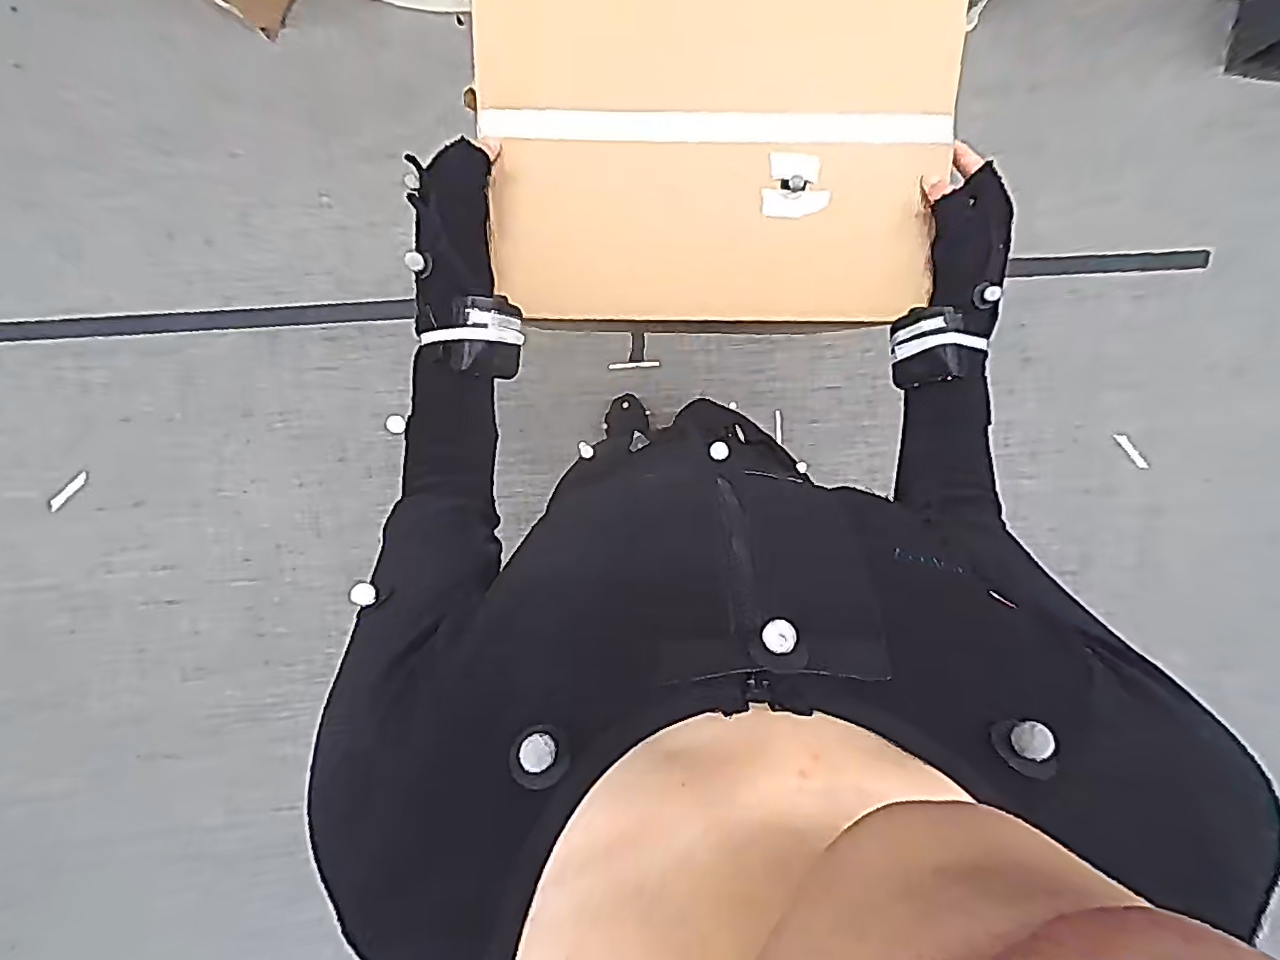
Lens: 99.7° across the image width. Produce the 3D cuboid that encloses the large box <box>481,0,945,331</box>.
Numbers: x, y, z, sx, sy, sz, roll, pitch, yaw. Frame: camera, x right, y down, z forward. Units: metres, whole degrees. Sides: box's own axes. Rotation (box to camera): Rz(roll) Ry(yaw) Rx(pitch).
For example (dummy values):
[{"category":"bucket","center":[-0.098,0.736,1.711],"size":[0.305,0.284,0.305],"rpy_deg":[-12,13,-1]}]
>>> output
[{"category":"large box","center":[0.060,-0.343,0.627],"size":[0.408,0.320,0.320],"rpy_deg":[-1,104,-2]}]
